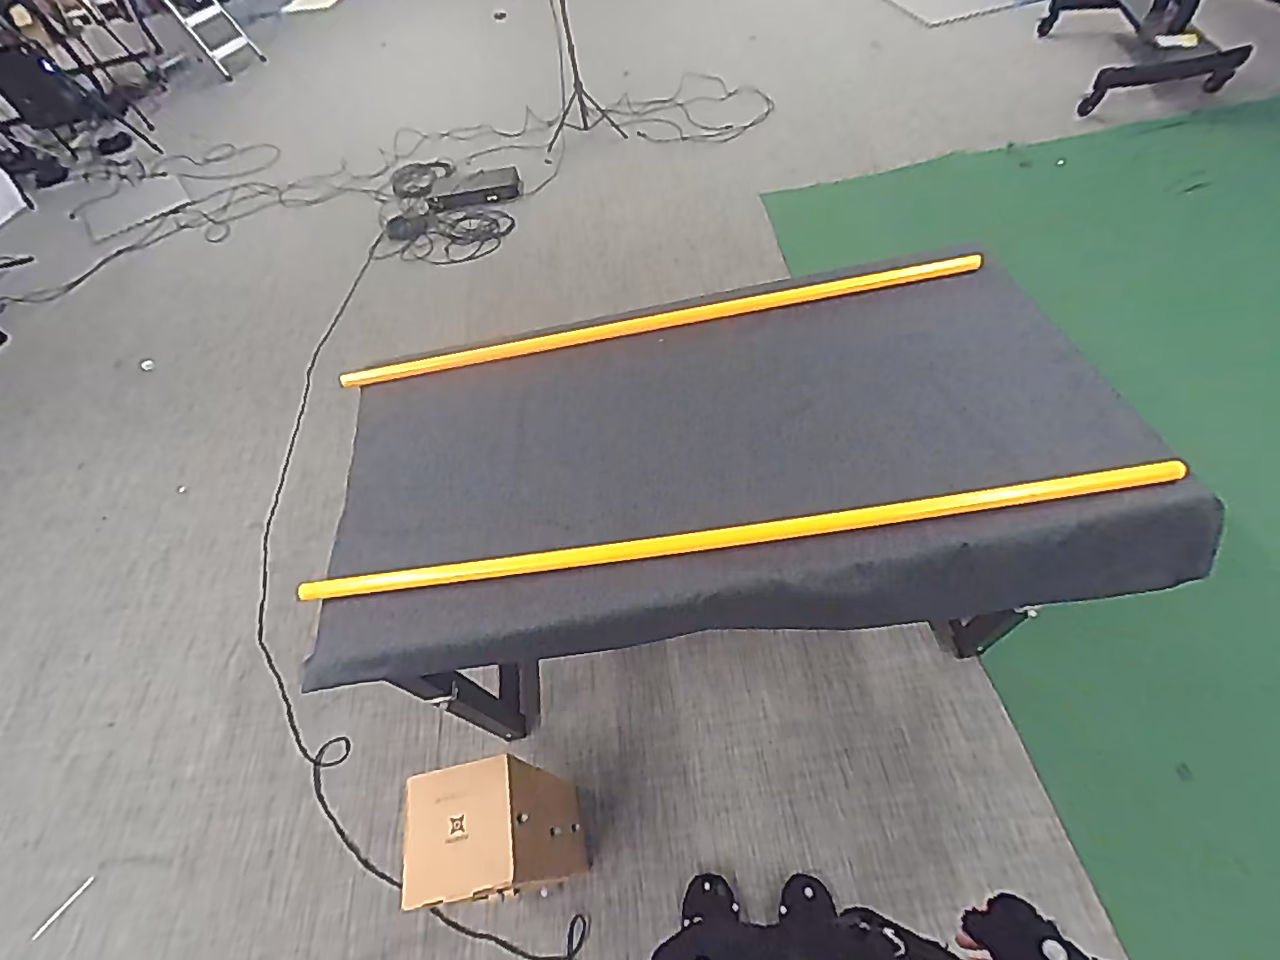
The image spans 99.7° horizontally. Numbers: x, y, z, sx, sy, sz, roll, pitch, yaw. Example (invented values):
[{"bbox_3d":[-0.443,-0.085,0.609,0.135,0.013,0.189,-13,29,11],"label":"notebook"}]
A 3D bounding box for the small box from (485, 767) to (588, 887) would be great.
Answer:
[{"bbox_3d":[-0.218,0.738,1.154,0.168,0.176,0.179,-17,56,-2],"label":"small box"}]
